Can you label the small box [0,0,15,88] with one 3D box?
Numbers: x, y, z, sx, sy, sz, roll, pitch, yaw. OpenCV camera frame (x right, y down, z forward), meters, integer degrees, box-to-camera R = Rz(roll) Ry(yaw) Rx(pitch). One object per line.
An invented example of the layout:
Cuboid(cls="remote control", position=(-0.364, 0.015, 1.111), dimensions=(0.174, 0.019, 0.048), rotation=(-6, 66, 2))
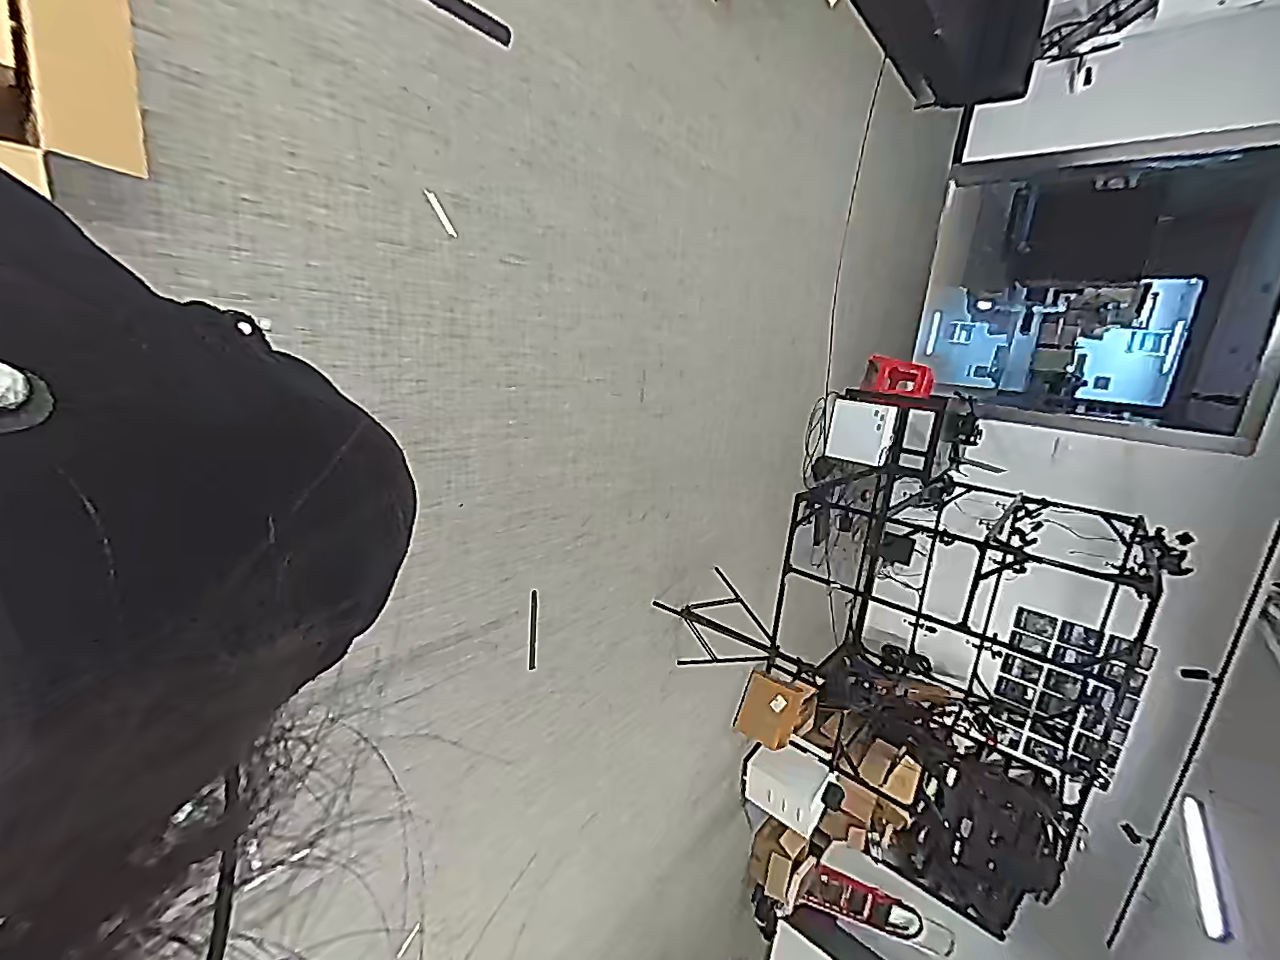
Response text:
Cuboid(cls="small box", position=(-0.934, -0.625, 0.679), dimensions=(0.179, 0.176, 0.168), rotation=(-8, 108, -50))
